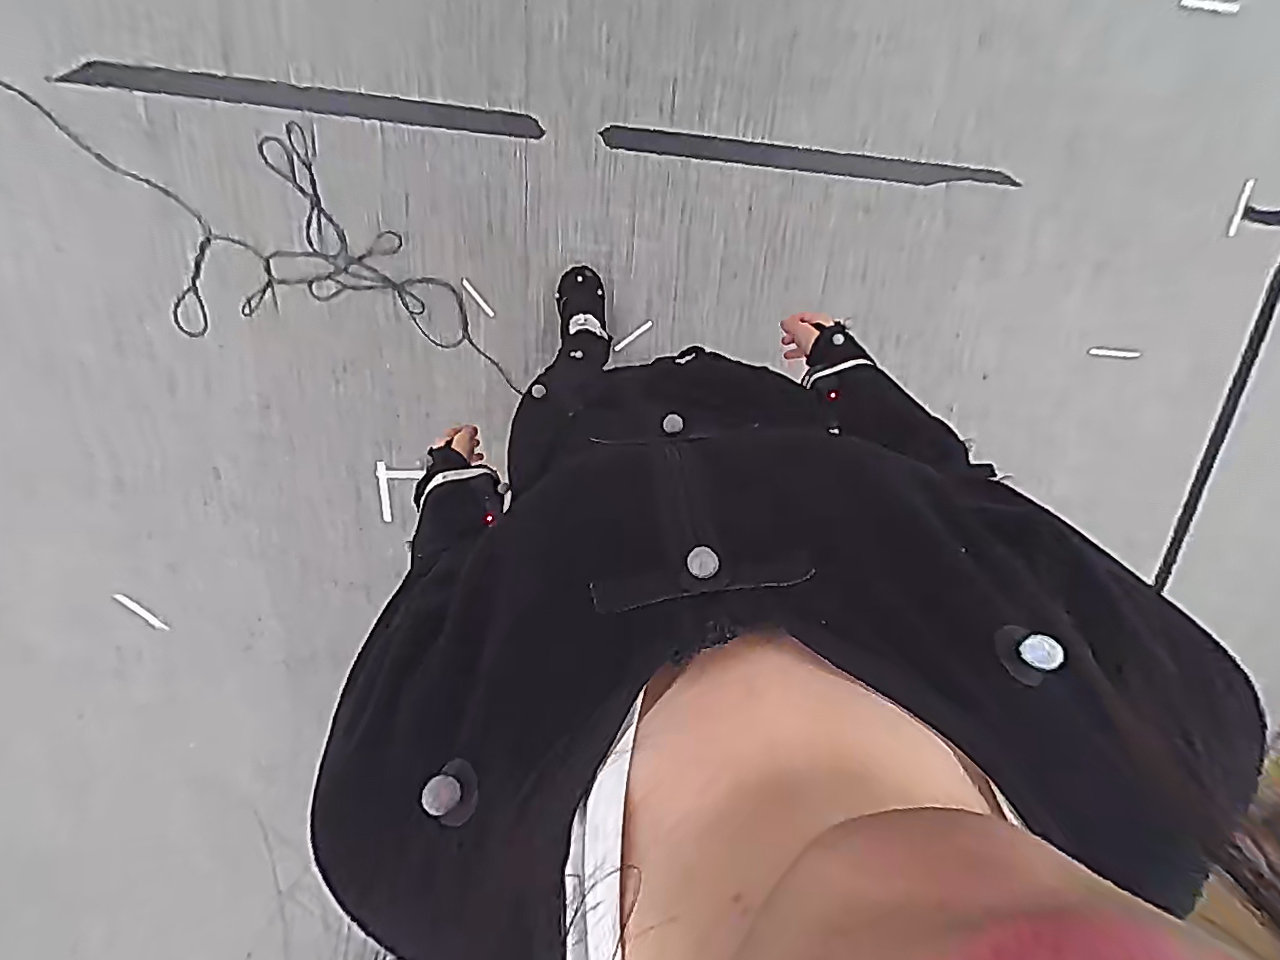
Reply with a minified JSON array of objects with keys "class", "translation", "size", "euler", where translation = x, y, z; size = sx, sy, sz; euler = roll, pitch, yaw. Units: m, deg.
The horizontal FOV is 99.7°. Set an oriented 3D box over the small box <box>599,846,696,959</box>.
[{"class":"small box","translation":[0.007,0.891,1.110],"size":[0.168,0.176,0.179],"euler":[7,107,-7]}]
